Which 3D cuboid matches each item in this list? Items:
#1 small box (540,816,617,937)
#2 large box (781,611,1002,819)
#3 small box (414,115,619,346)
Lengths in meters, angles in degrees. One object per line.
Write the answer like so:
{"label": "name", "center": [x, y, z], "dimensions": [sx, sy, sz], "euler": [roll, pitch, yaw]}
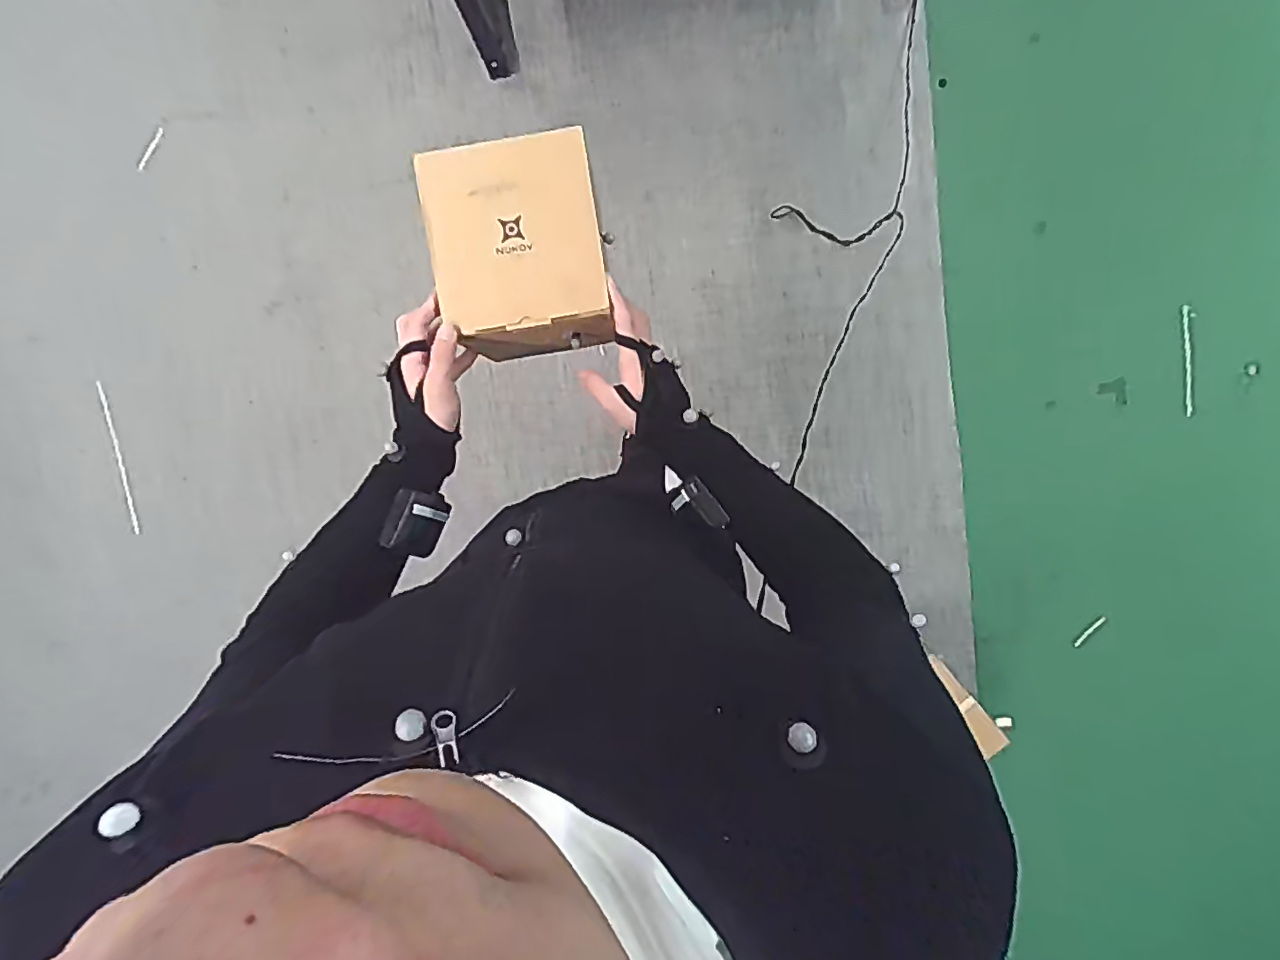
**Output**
{"label": "small box", "center": [-0.145, 0.957, 1.321], "dimensions": [0.168, 0.176, 0.179], "euler": [3, 94, 2]}
{"label": "large box", "center": [0.672, 0.646, 1.515], "dimensions": [0.408, 0.320, 0.320], "euler": [-41, 94, 4]}
{"label": "small box", "center": [-0.118, -0.249, 0.588], "dimensions": [0.168, 0.176, 0.179], "euler": [-8, 94, 1]}
